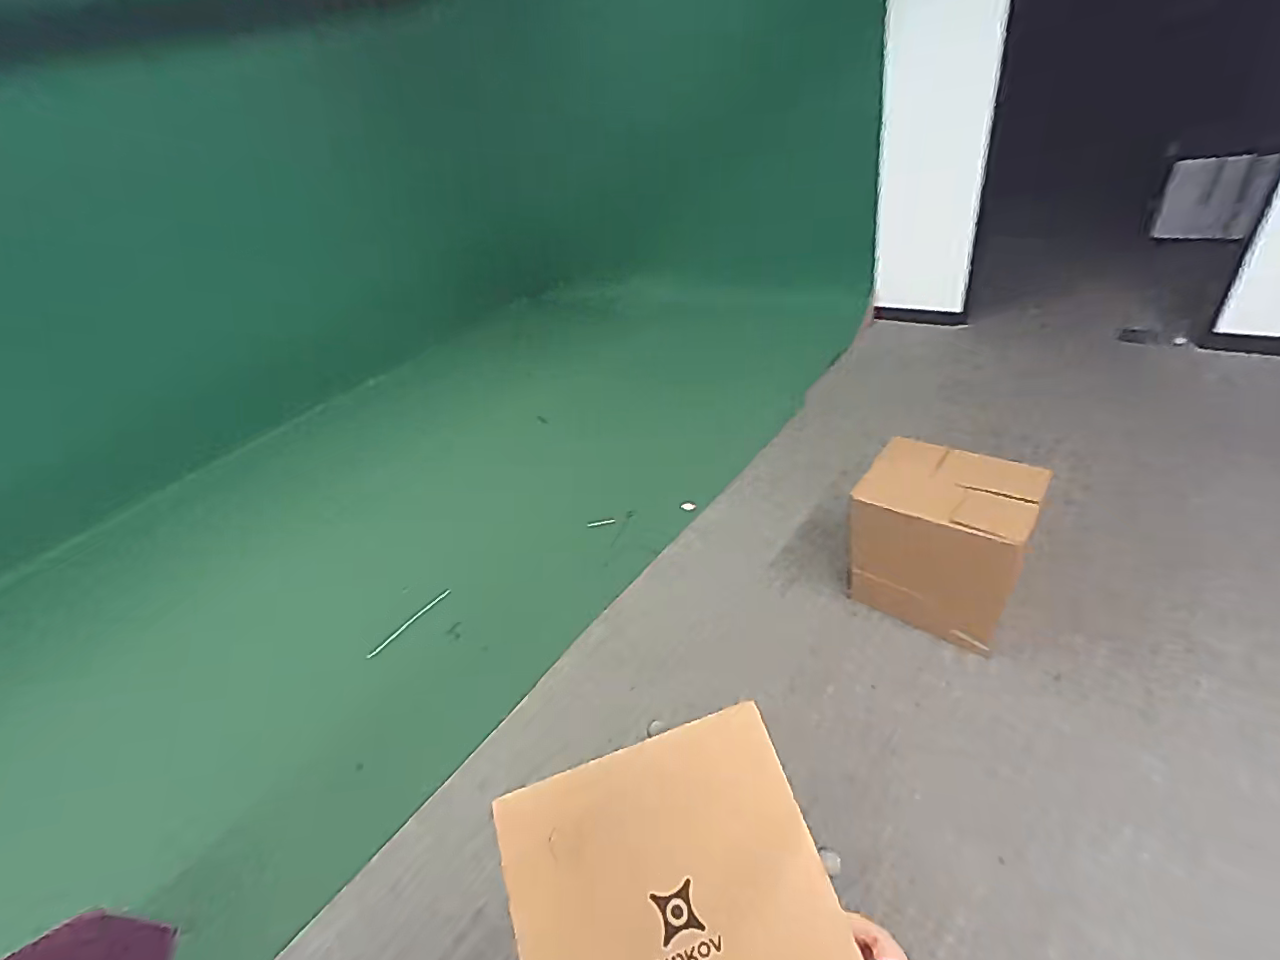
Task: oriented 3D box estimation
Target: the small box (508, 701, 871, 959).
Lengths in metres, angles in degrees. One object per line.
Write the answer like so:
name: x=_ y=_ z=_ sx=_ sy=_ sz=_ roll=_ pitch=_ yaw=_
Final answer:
small box: x=0.027 y=0.268 z=0.351 sx=0.168 sy=0.176 sz=0.179 roll=-17 pitch=62 yaw=-8
